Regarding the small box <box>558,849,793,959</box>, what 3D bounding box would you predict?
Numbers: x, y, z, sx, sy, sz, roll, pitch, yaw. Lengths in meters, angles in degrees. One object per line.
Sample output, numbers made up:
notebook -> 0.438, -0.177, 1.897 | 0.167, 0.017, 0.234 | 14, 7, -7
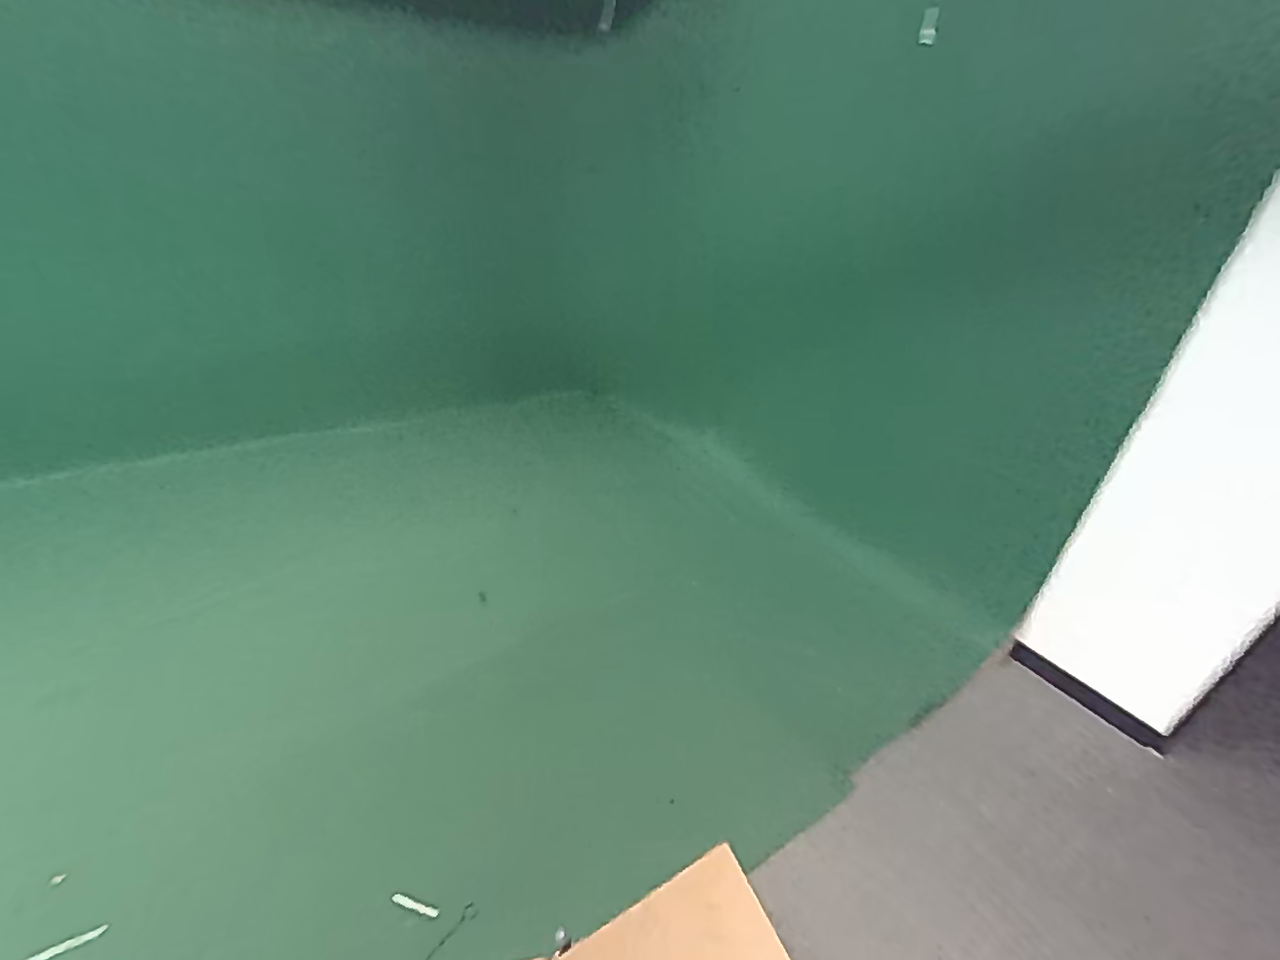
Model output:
small box -> 0.033, 0.403, 0.394 | 0.179, 0.176, 0.168 | -26, 56, -14
